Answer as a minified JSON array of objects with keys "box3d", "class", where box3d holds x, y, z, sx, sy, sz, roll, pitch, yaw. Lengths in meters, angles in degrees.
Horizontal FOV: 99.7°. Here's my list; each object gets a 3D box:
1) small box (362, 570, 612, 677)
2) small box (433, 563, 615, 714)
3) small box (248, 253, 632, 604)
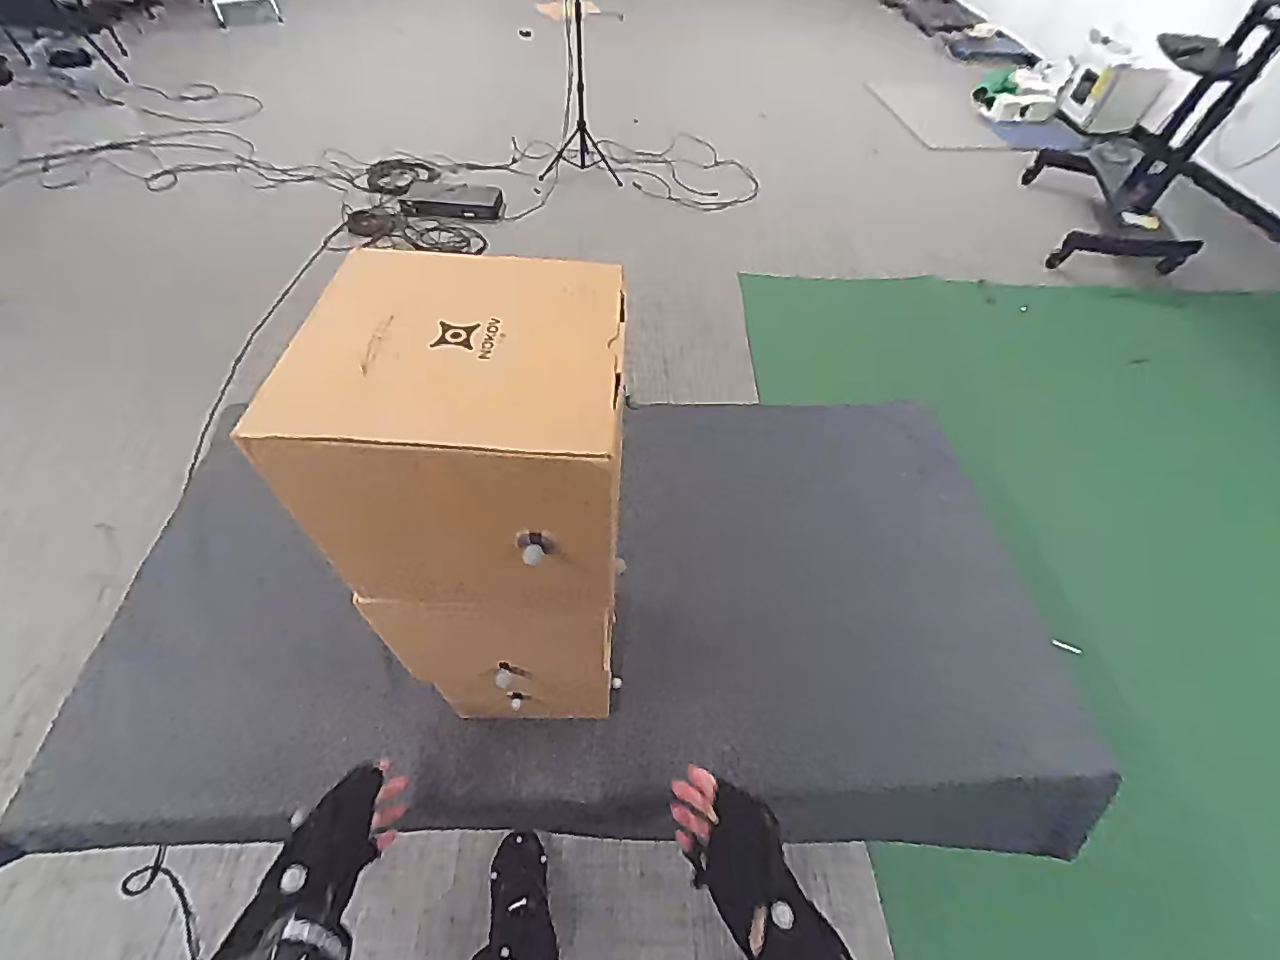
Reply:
[{"box3d":[-0.114,0.071,0.493,0.179,0.176,0.168,2,52,-3],"class":"small box"},{"box3d":[-0.120,0.163,0.627,0.179,0.176,0.168,1,52,-2],"class":"small box"},{"box3d":[-0.098,-0.027,0.364,0.179,0.176,0.168,2,51,-1],"class":"small box"}]
